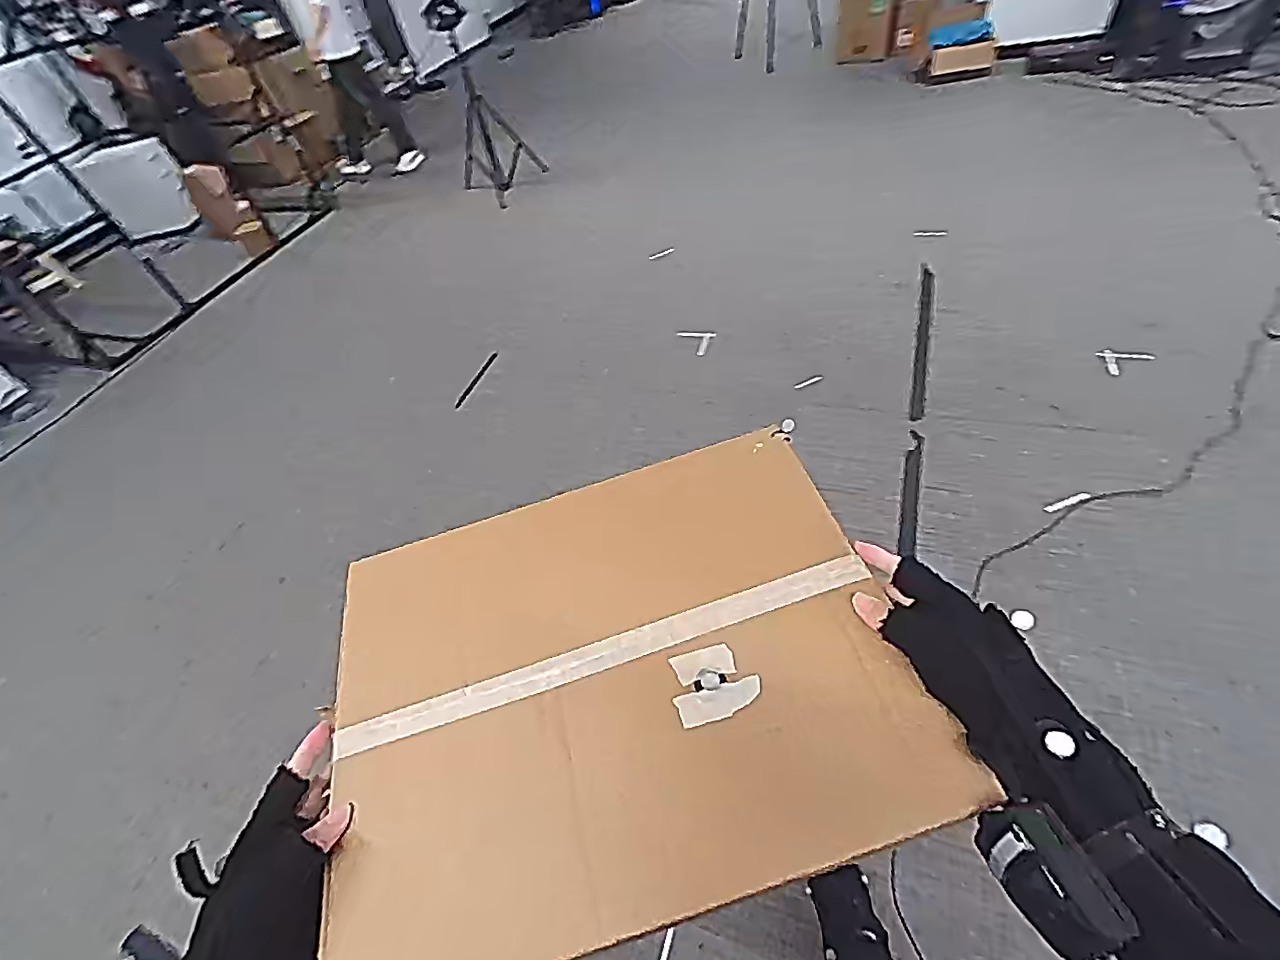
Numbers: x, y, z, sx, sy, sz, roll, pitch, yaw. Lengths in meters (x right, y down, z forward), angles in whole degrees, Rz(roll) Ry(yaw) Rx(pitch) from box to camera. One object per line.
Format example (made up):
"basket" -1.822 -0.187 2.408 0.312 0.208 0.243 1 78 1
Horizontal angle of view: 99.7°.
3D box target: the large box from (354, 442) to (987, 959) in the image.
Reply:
"large box" 0.007 0.225 0.524 0.408 0.320 0.320 -17 52 -2
